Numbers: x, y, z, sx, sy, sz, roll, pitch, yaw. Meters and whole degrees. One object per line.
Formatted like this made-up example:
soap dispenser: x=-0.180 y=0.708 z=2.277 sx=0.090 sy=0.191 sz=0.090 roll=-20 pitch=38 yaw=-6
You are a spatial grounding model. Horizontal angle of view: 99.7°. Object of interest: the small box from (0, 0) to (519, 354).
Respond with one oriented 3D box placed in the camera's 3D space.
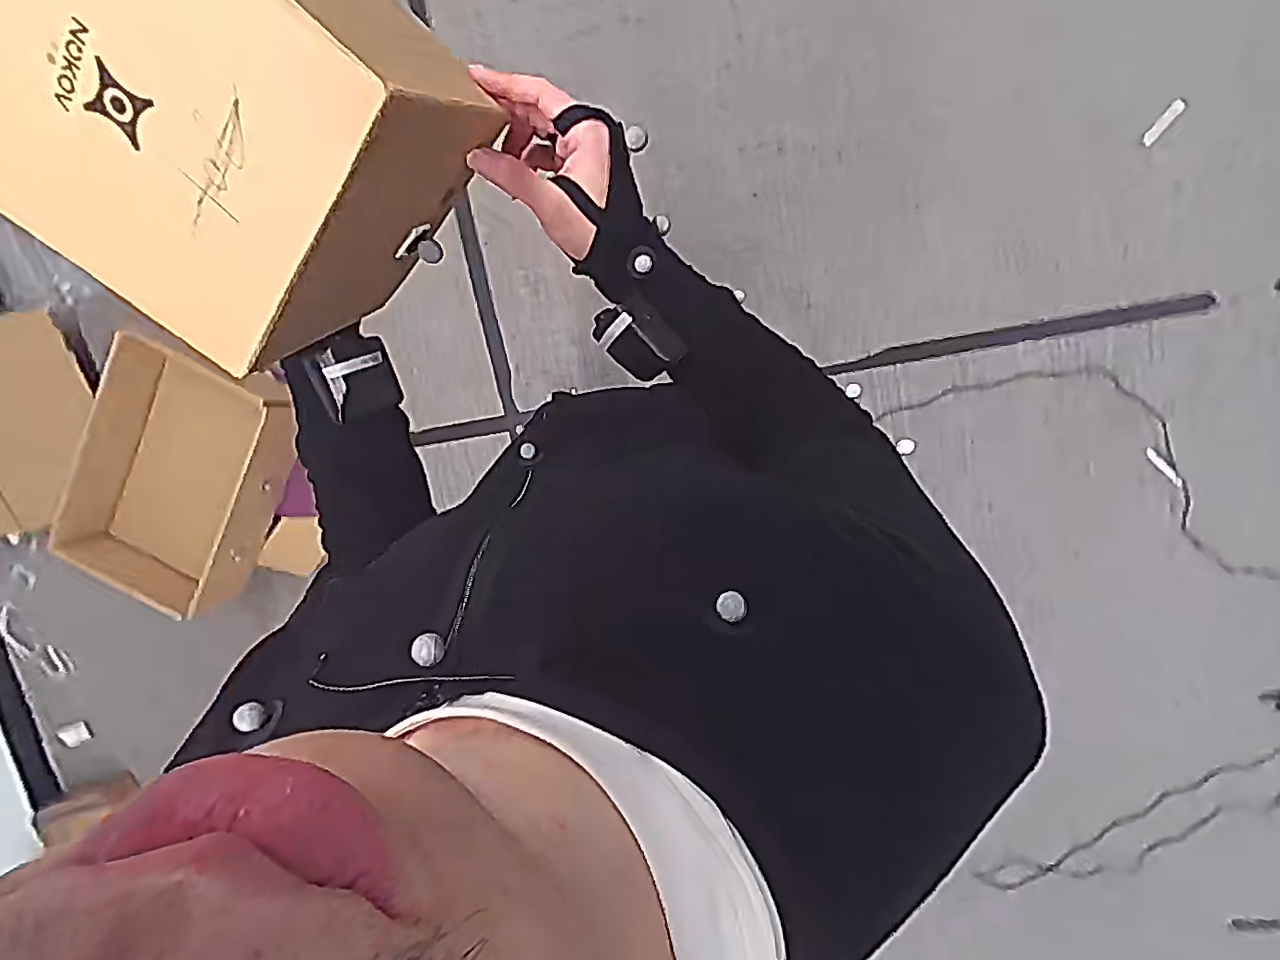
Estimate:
small box: x=-0.197 y=-0.205 z=0.293 sx=0.179 sy=0.176 sz=0.168 roll=40 pitch=117 yaw=-18
